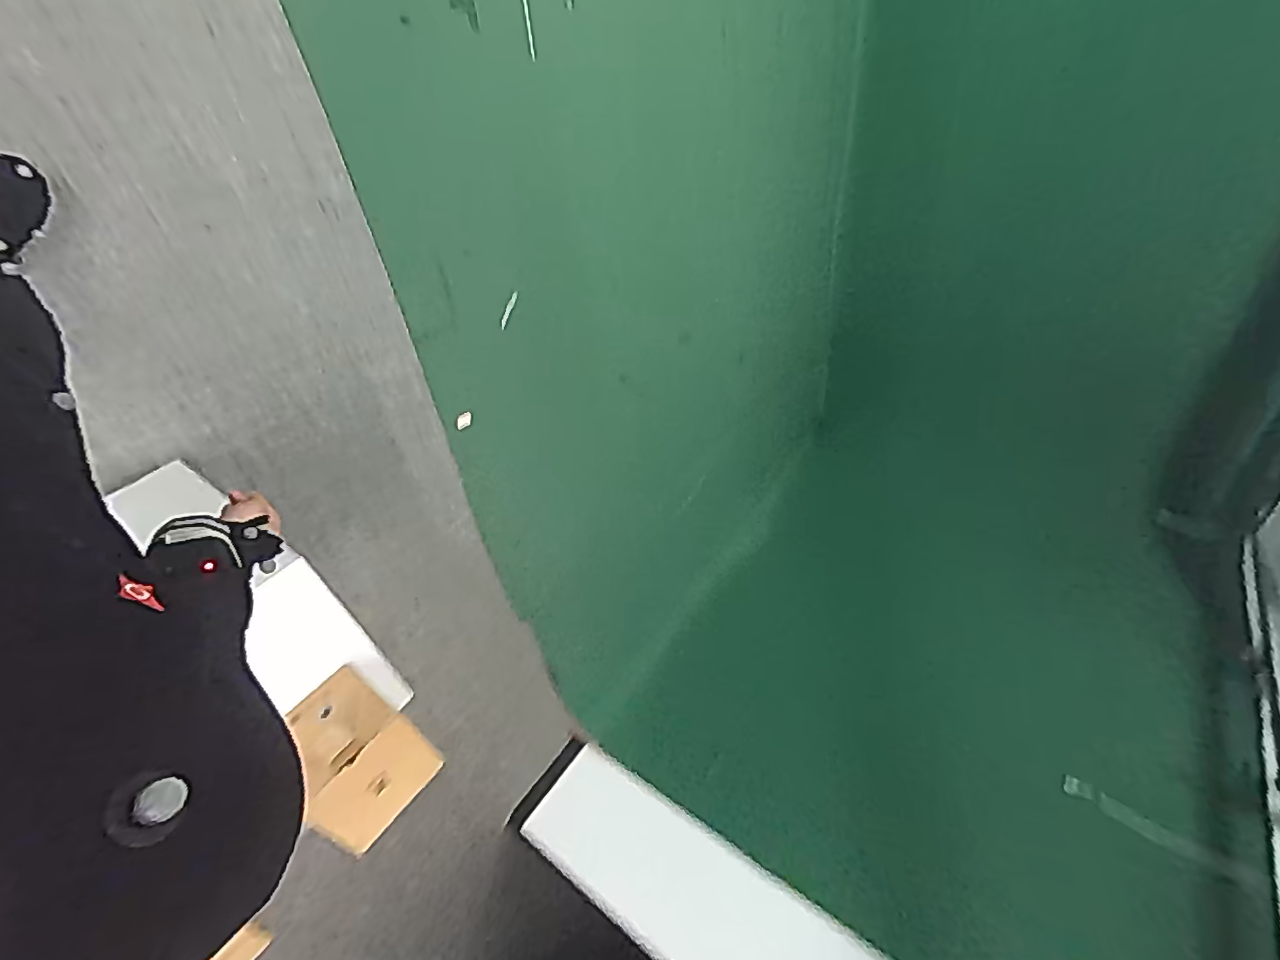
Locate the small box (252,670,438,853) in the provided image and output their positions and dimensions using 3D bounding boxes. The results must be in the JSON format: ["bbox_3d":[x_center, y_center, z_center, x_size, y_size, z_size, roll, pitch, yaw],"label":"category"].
[{"bbox_3d":[-0.466,0.440,0.865,0.168,0.176,0.179,-44,138,-33],"label":"small box"}]

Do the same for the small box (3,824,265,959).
[{"bbox_3d":[-0.639,0.585,0.691,0.168,0.176,0.179,-42,138,-36],"label":"small box"}]
